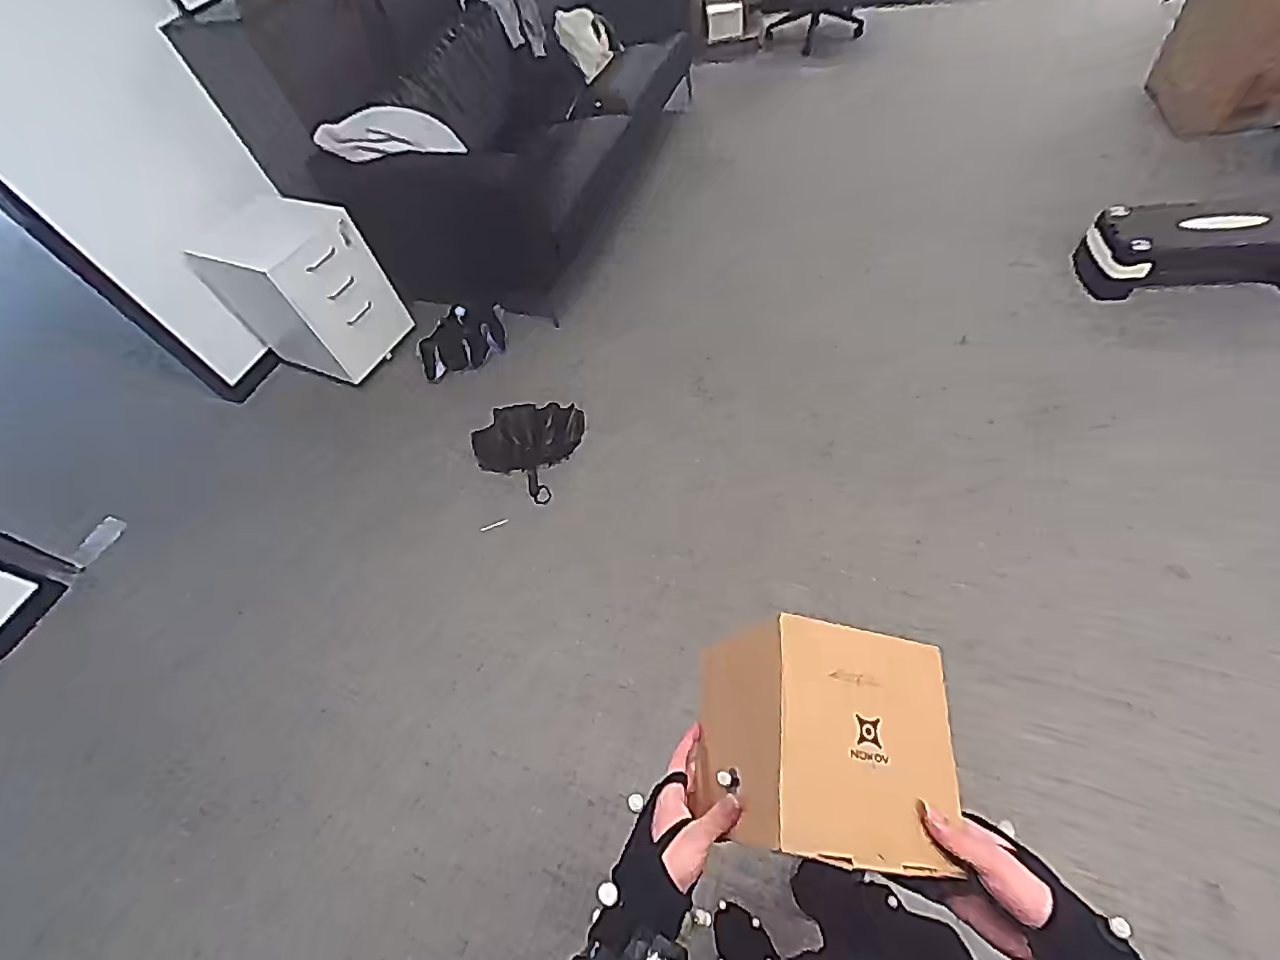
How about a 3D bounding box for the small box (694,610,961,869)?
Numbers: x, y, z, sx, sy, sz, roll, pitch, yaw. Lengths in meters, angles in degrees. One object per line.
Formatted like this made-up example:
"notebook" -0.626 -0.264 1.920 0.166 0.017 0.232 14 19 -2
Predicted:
"small box" 0.160 0.243 0.514 0.168 0.176 0.179 15 59 -13
